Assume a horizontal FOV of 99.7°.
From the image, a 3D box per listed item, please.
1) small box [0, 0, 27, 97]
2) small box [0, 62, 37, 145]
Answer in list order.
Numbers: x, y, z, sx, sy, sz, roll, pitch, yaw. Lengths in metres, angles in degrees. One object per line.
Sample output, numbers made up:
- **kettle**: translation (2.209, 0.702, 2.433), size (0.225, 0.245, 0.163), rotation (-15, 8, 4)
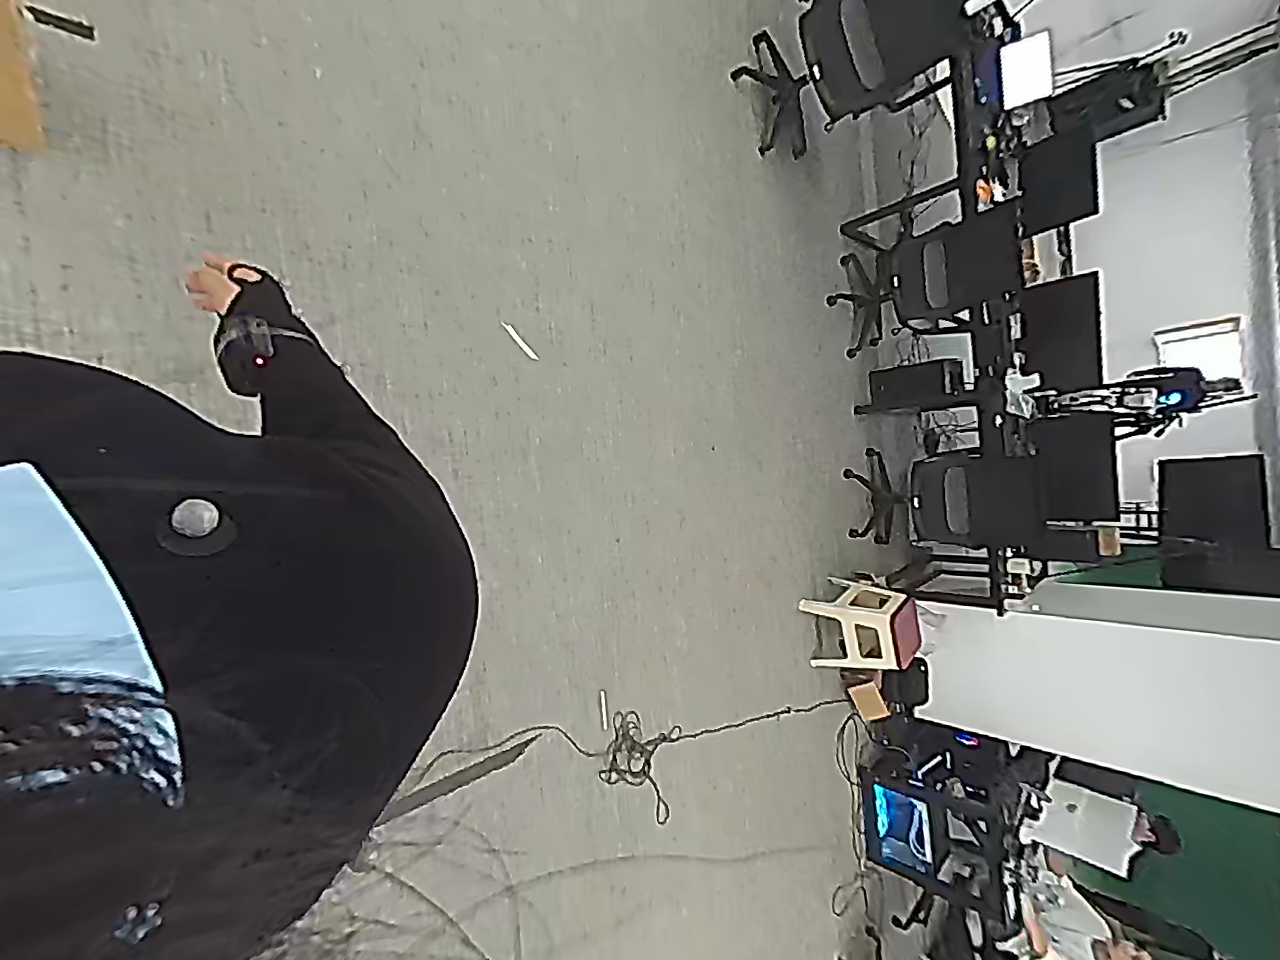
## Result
- **small box**: translation (-1.066, -0.737, 0.816), size (0.168, 0.176, 0.179), rotation (-6, 92, -44)
- **small box**: translation (-1.180, -0.720, 0.931), size (0.168, 0.176, 0.179), rotation (-9, 93, -44)
